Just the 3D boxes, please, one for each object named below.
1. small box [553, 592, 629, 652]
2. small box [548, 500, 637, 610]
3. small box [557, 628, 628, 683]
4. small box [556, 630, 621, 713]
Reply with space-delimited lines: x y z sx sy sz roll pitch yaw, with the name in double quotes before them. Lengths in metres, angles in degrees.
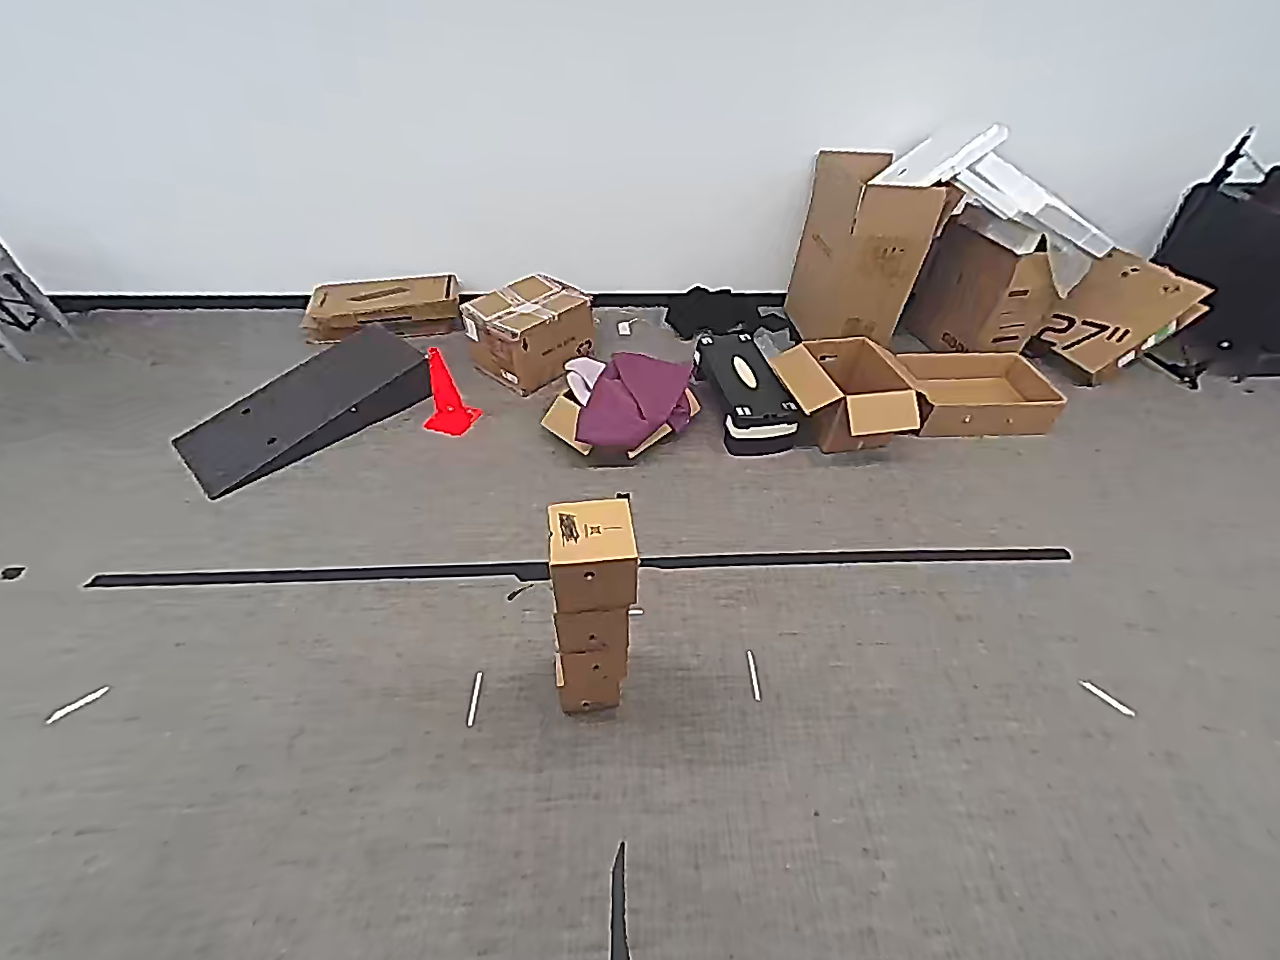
"small box" -0.112 0.284 1.281 0.168 0.176 0.179 -3 44 -3
"small box" -0.102 0.165 1.168 0.179 0.176 0.168 -5 44 -7
"small box" -0.122 0.405 1.393 0.168 0.176 0.179 -6 45 -7
"small box" -0.143 0.523 1.507 0.168 0.176 0.179 -6 46 -6
